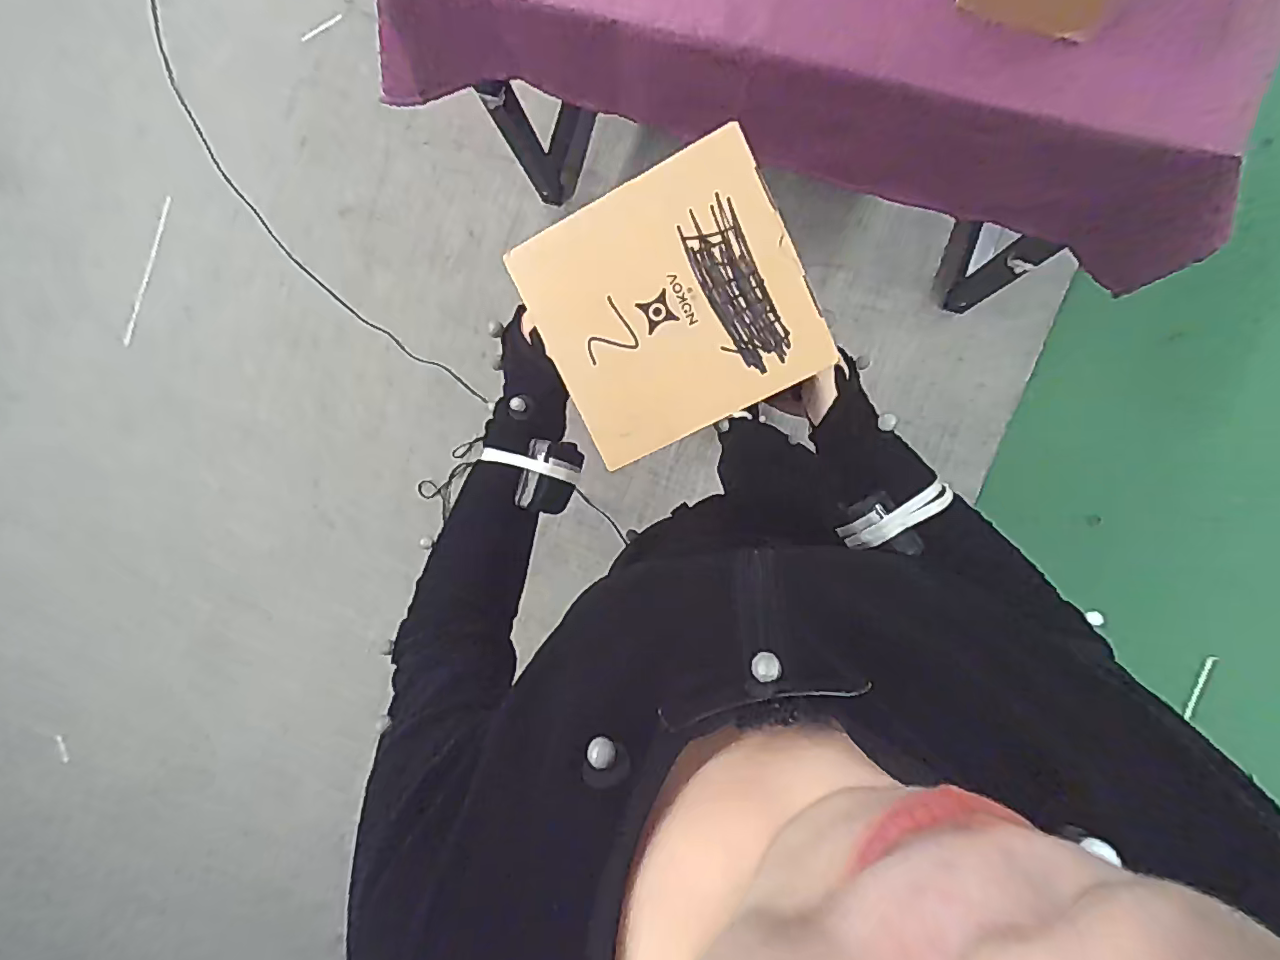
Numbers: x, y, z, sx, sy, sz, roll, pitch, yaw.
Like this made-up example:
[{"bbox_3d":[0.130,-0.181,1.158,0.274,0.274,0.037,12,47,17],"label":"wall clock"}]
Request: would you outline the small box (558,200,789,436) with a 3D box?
[{"bbox_3d":[0.039,-0.163,0.600,0.179,0.176,0.168,-29,95,9],"label":"small box"}]
